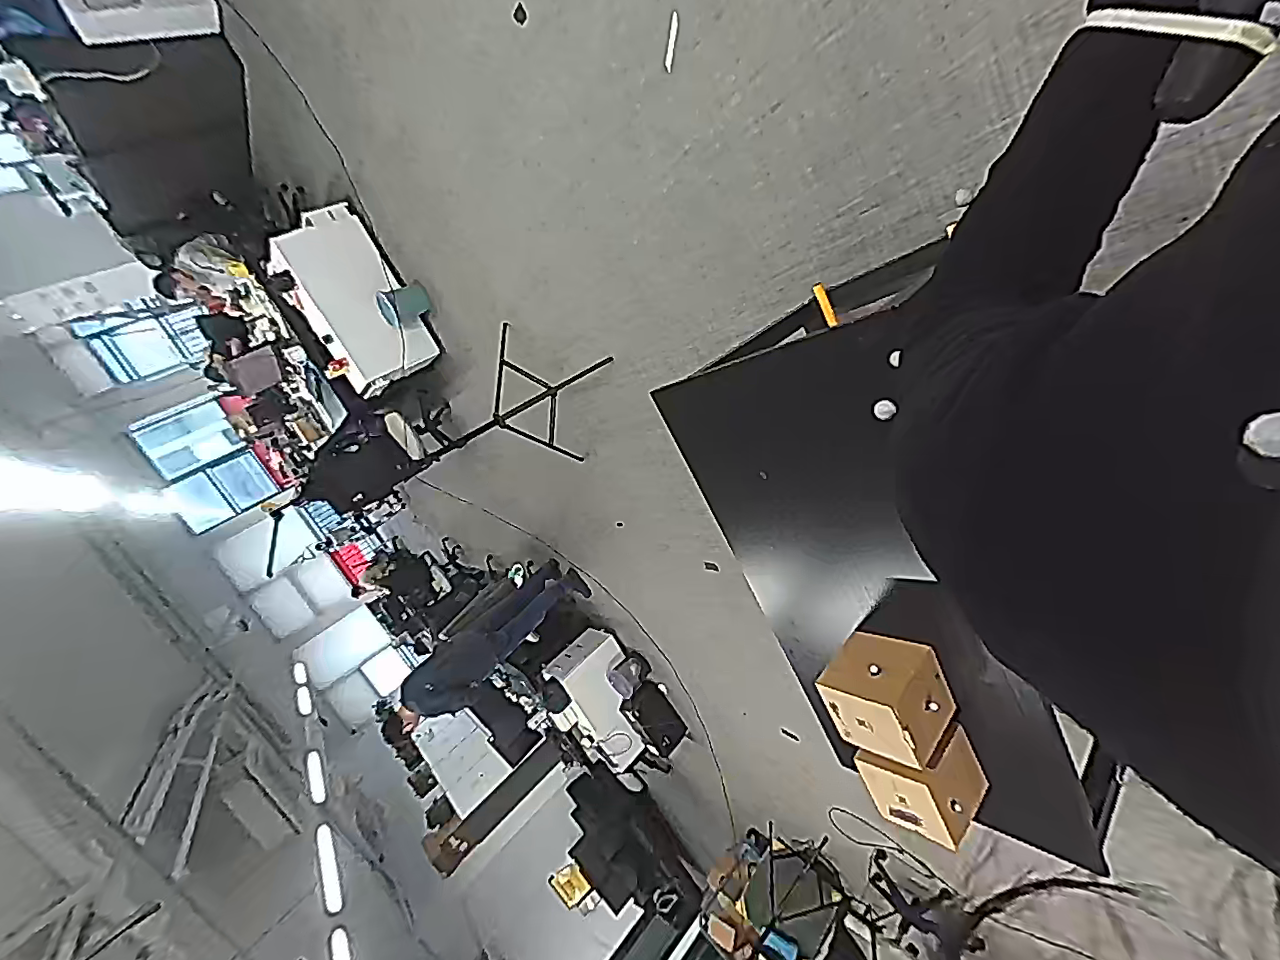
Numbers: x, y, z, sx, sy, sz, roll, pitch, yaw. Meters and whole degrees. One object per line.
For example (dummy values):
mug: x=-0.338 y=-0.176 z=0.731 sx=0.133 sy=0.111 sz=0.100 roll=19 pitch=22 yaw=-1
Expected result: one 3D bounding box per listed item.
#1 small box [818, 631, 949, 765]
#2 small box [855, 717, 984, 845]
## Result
small box: x=0.507 y=0.435 z=1.112 sx=0.179 sy=0.176 sz=0.168 roll=-6 pitch=117 yaw=55
small box: x=0.605 y=0.619 z=1.163 sx=0.168 sy=0.176 sz=0.179 roll=-10 pitch=112 yaw=57
